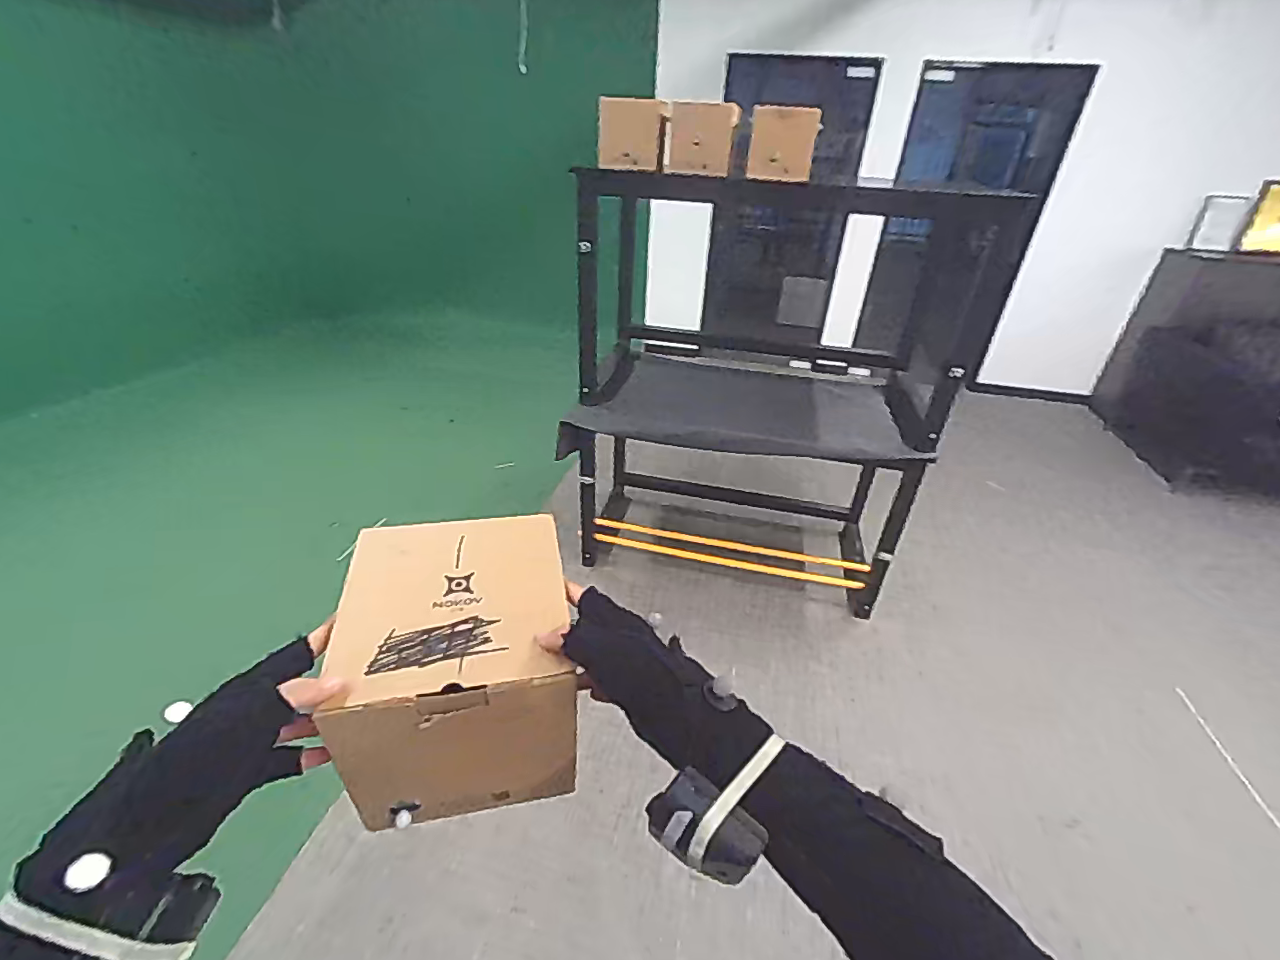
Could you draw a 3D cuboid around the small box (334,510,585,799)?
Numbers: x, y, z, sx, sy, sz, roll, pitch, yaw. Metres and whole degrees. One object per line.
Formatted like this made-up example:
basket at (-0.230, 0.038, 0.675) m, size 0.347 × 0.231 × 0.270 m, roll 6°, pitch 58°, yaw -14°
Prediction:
small box at (-0.138, 0.149, 0.470) m, size 0.168 × 0.176 × 0.179 m, roll -3°, pitch 35°, yaw -13°
